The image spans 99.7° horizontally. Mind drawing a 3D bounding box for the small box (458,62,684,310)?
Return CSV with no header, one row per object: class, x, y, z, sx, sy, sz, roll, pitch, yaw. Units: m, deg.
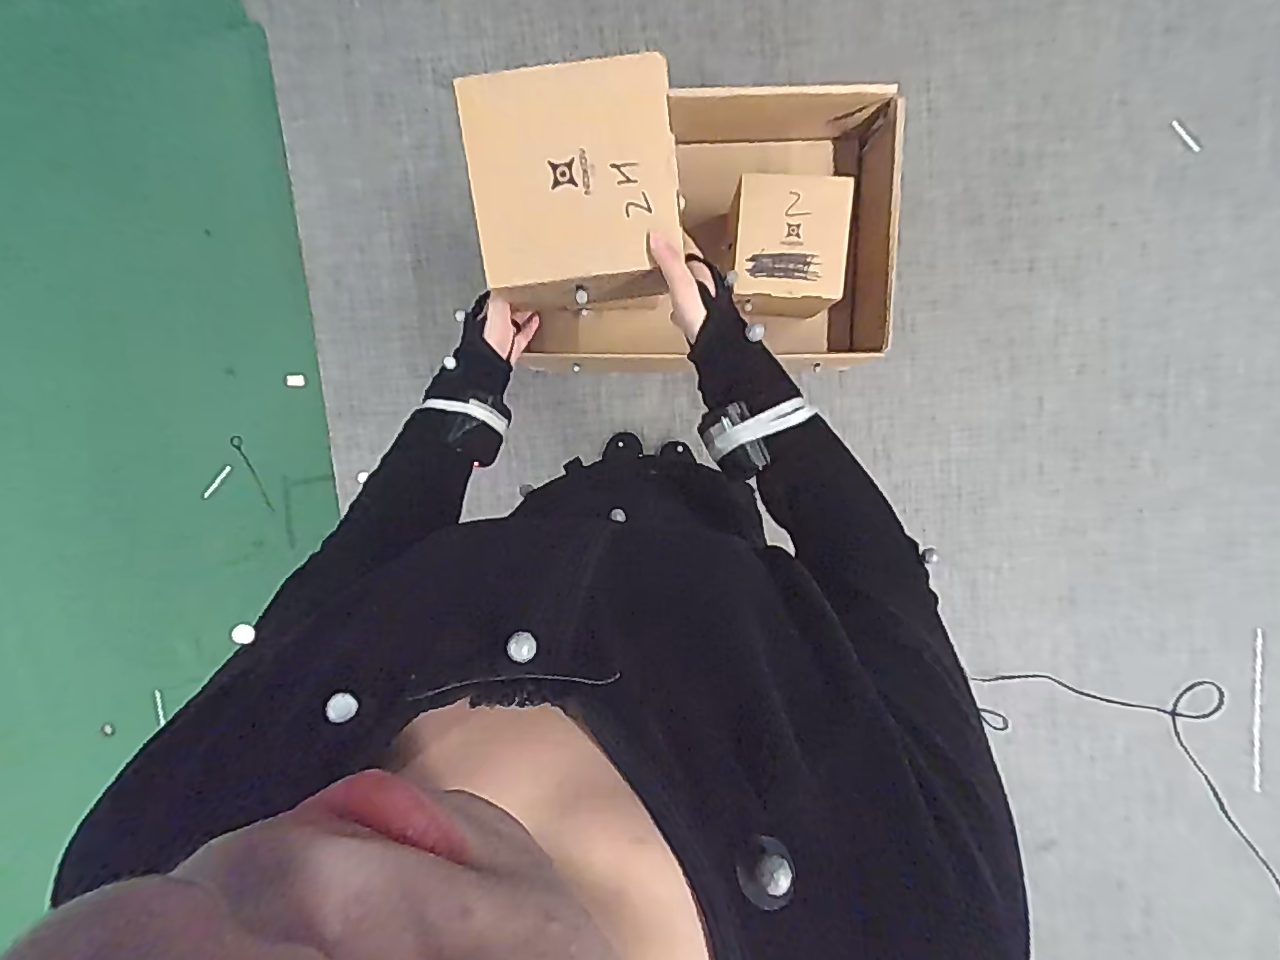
small box,-0.056,-0.267,0.533,0.179,0.176,0.168,-7,102,0
